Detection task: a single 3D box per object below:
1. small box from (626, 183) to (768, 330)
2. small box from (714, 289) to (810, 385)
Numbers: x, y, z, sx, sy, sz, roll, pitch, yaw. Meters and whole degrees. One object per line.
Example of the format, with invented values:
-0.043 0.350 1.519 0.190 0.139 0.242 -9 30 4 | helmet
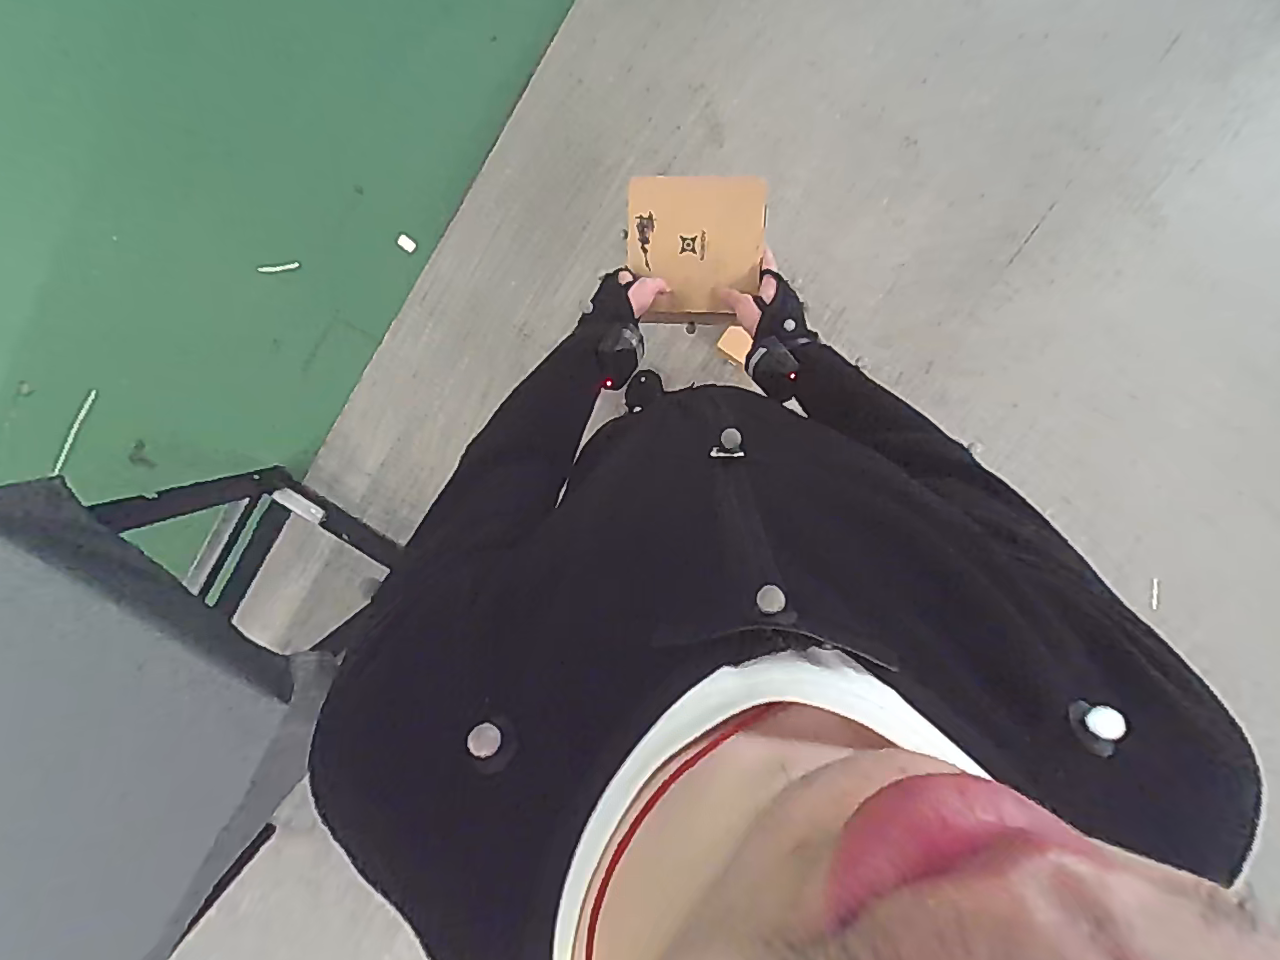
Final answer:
0.075 -0.307 0.772 0.179 0.176 0.168 3 101 3 | small box
0.308 -0.368 1.417 0.168 0.176 0.179 36 99 -2 | small box
